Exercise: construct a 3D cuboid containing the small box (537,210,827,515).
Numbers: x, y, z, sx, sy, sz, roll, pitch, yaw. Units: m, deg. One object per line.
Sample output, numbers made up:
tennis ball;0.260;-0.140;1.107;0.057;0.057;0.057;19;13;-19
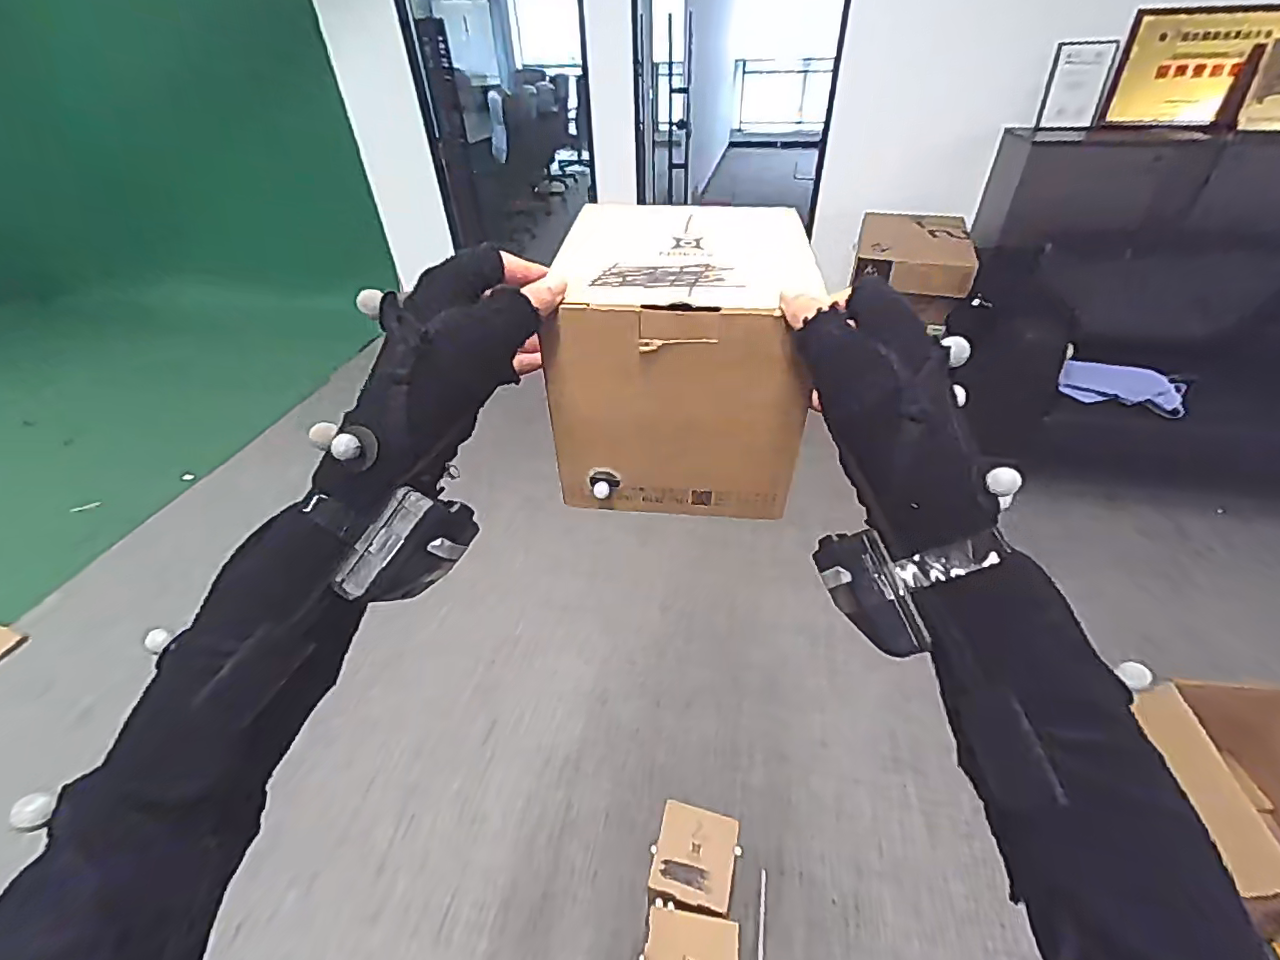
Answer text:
small box;0.032;-0.091;0.412;0.168;0.176;0.179;4;42;5
